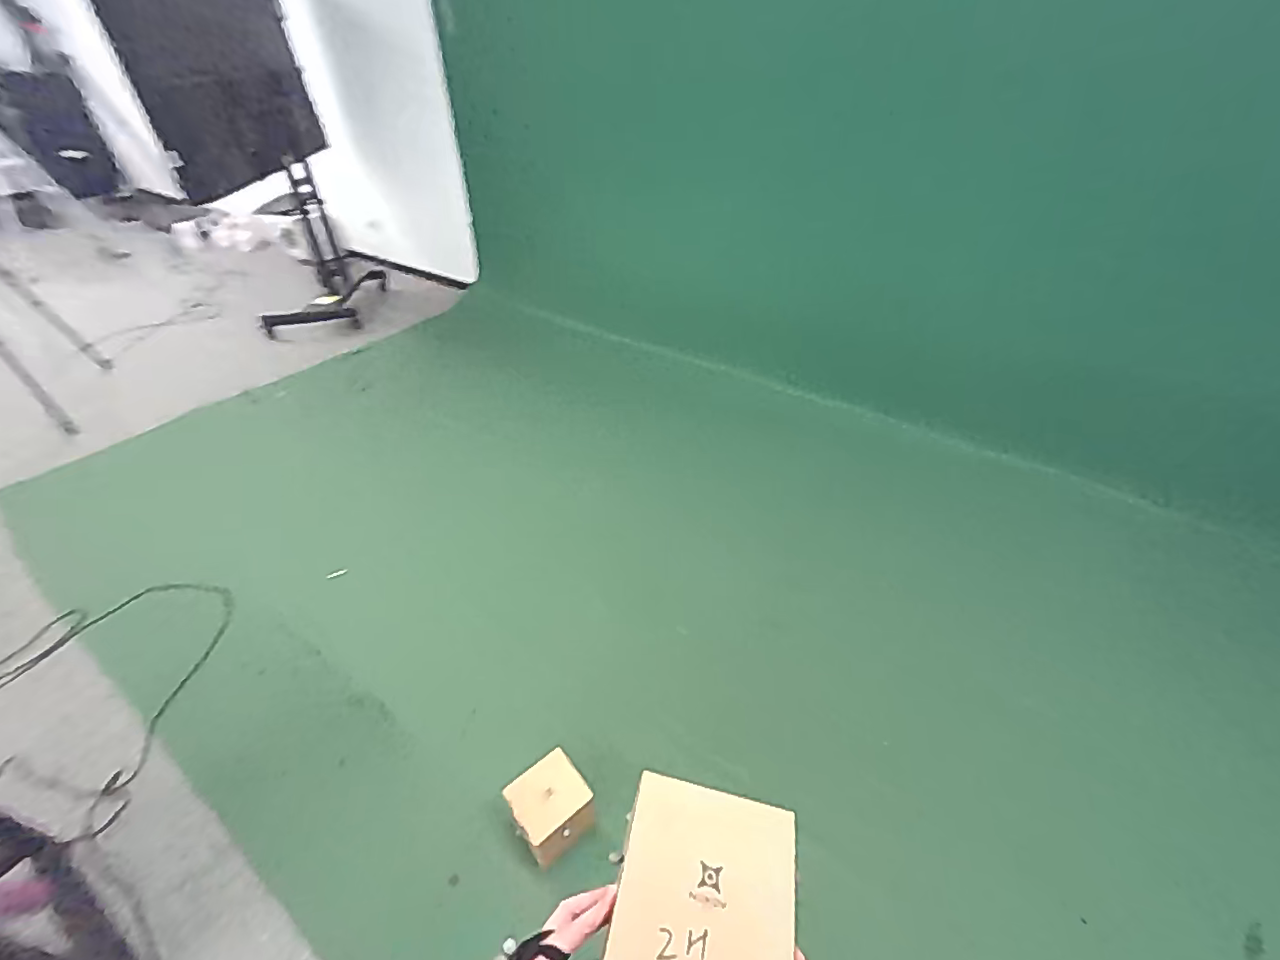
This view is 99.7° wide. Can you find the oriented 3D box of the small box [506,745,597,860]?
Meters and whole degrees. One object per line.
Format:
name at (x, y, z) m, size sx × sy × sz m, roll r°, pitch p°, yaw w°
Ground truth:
small box at (-0.228, 0.853, 1.431) m, size 0.179 × 0.176 × 0.168 m, roll -29°, pitch 48°, yaw -28°
